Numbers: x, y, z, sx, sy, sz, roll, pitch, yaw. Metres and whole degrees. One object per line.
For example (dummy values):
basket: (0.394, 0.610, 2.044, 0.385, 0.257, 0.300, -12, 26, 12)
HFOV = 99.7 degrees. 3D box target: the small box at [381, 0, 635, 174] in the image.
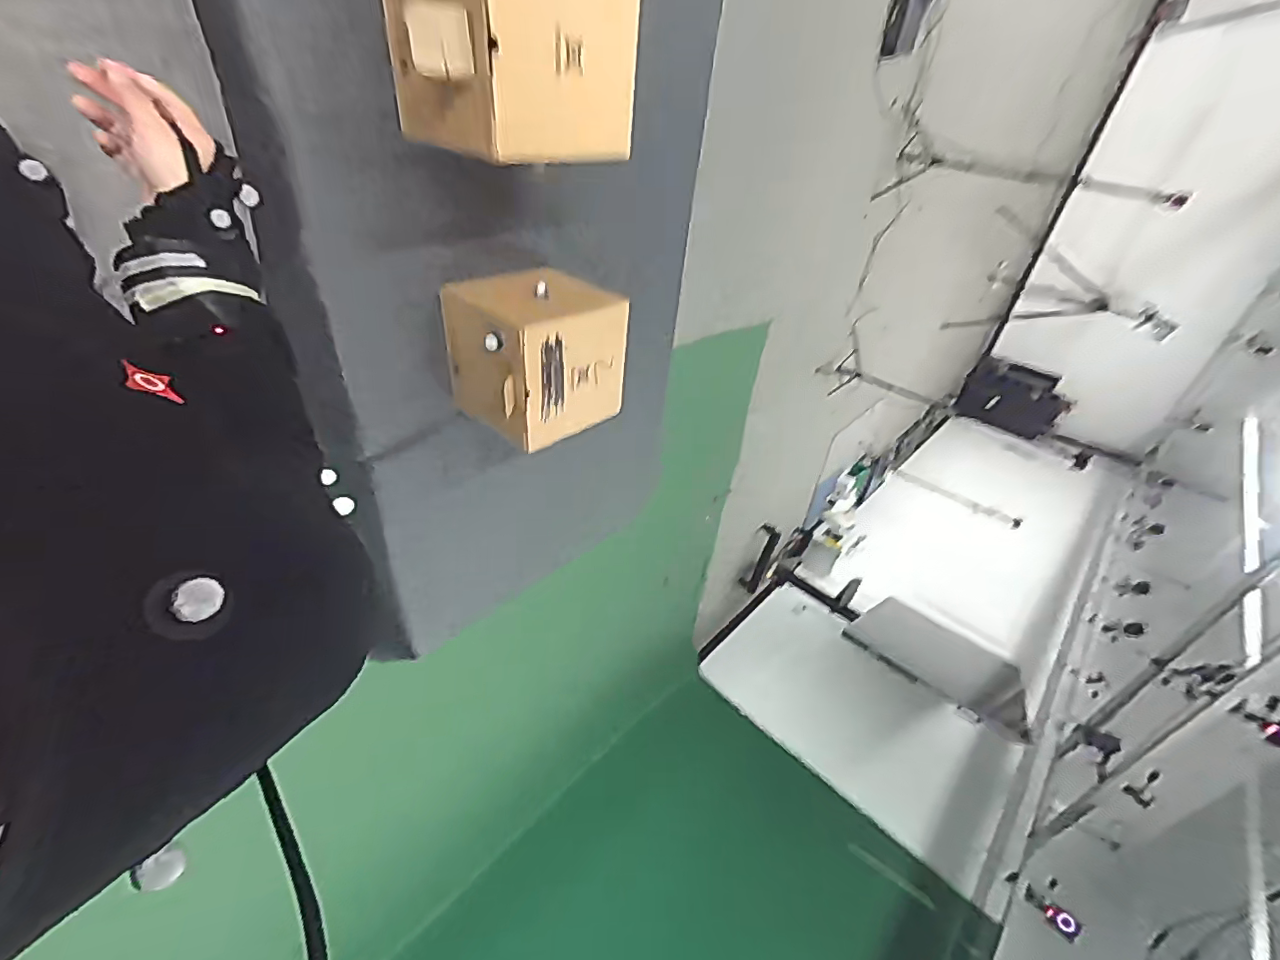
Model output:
small box: (-0.128, -0.415, 0.538, 0.179, 0.176, 0.168, -30, 140, -38)
